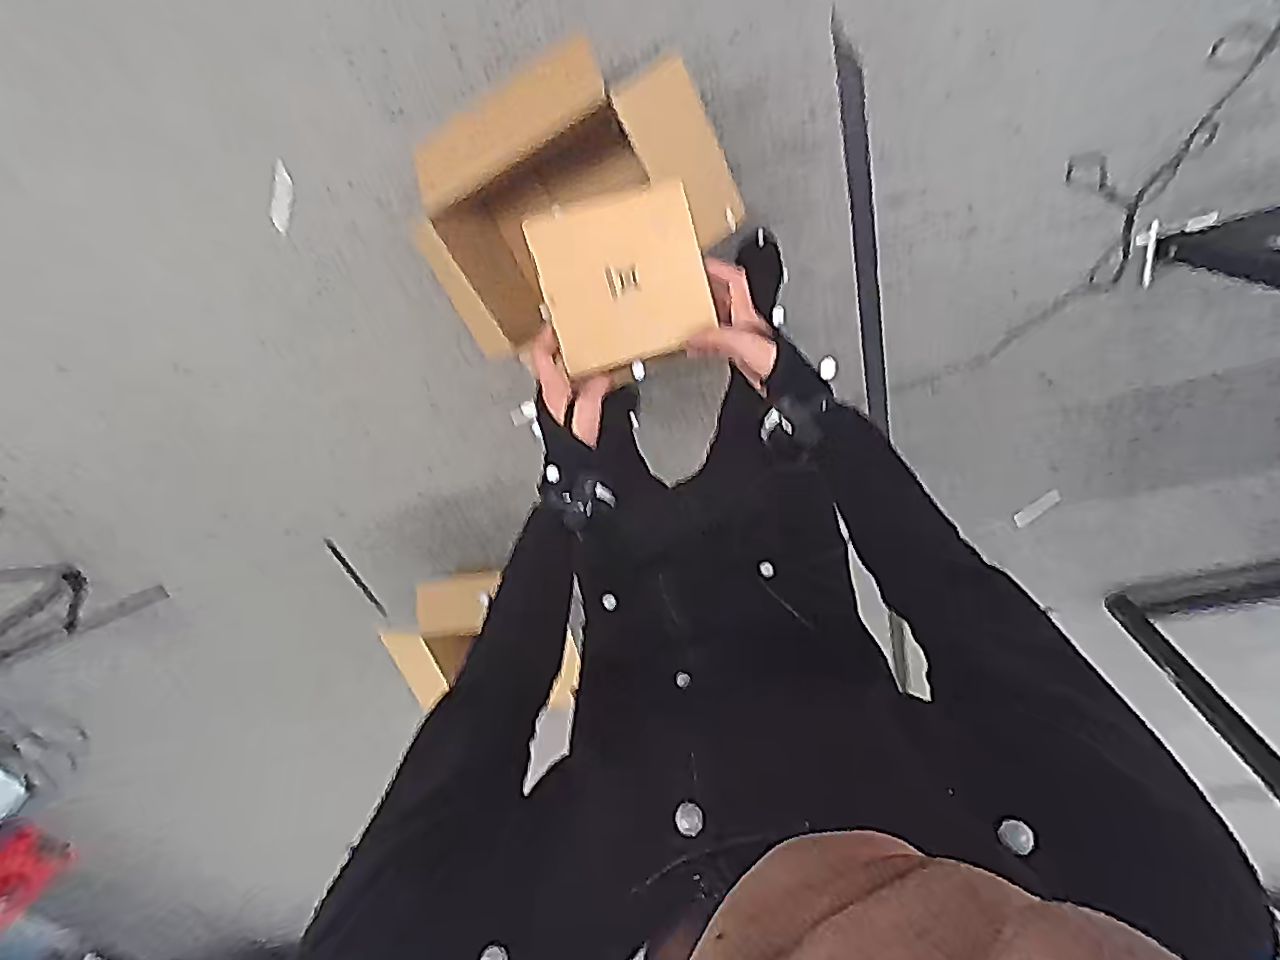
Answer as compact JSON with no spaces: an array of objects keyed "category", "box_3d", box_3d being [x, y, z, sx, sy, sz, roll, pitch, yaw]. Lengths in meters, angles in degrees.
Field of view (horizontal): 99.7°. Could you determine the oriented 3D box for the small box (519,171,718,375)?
[{"category":"small box","box_3d":[-0.026,-0.229,0.642,0.179,0.176,0.168,-17,99,0]}]
